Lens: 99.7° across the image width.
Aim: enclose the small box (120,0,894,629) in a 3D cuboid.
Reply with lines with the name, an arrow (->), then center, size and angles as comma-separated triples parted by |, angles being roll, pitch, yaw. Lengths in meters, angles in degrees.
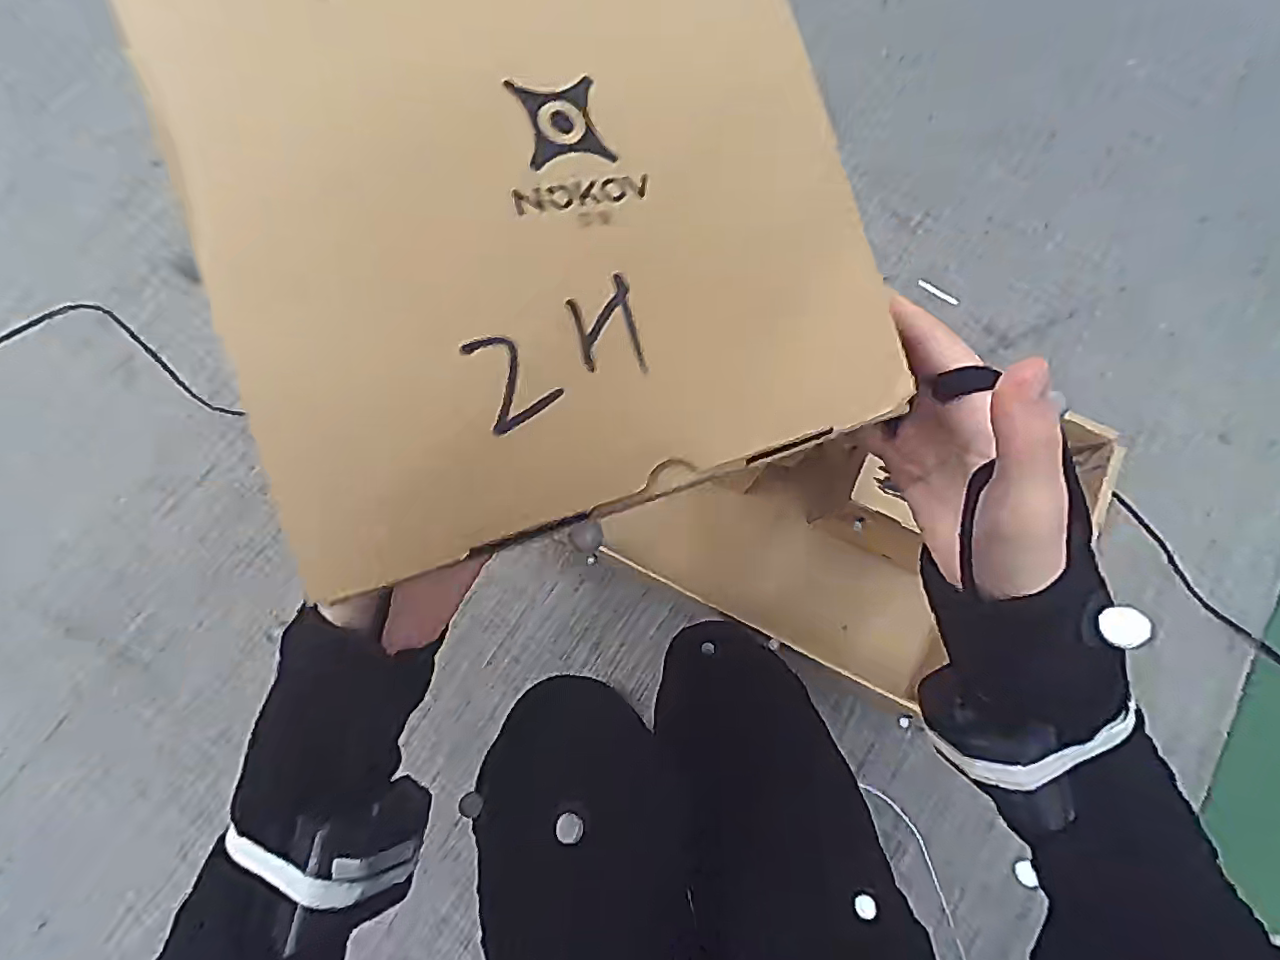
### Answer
small box -> -0.045, -0.062, 0.215 | 0.168, 0.176, 0.179 | -17, 90, -19
